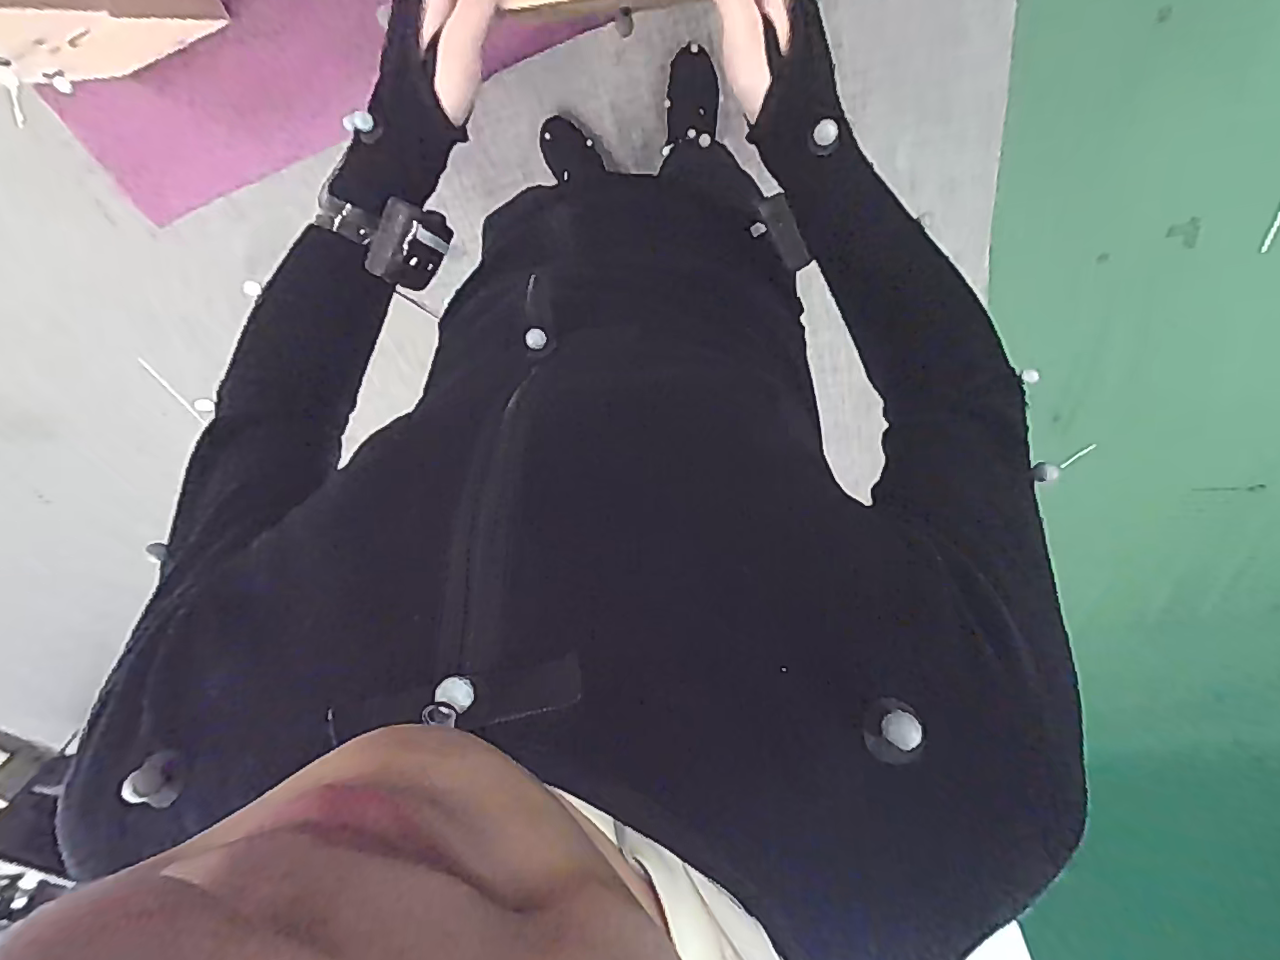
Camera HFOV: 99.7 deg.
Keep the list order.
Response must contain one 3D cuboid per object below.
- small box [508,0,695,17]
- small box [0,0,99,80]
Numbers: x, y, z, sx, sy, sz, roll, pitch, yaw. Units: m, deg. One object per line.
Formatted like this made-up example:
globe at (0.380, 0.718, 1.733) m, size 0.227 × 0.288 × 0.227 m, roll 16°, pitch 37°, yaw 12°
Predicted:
small box at (-0.016, -0.437, 0.370) m, size 0.179 × 0.176 × 0.168 m, roll -6°, pitch 127°, yaw 0°
small box at (-0.572, -0.404, 0.379) m, size 0.168 × 0.176 × 0.179 m, roll -14°, pitch 128°, yaw 15°
